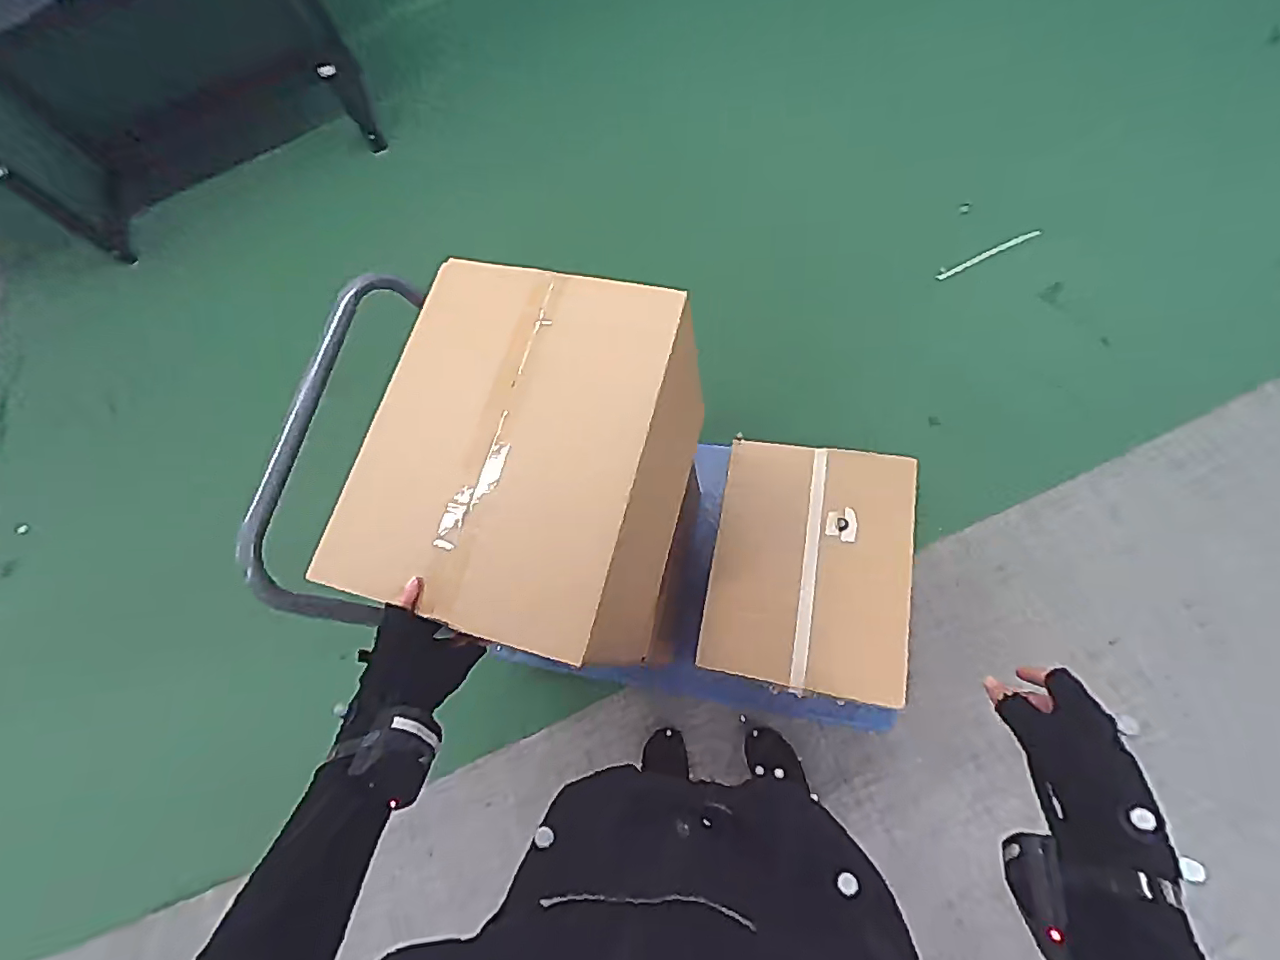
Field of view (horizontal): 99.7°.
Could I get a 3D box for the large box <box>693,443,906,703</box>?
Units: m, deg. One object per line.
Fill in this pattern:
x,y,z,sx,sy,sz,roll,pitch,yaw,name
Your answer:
0.300,0.185,1.031,0.320,0.320,0.408,8,71,15,large box
